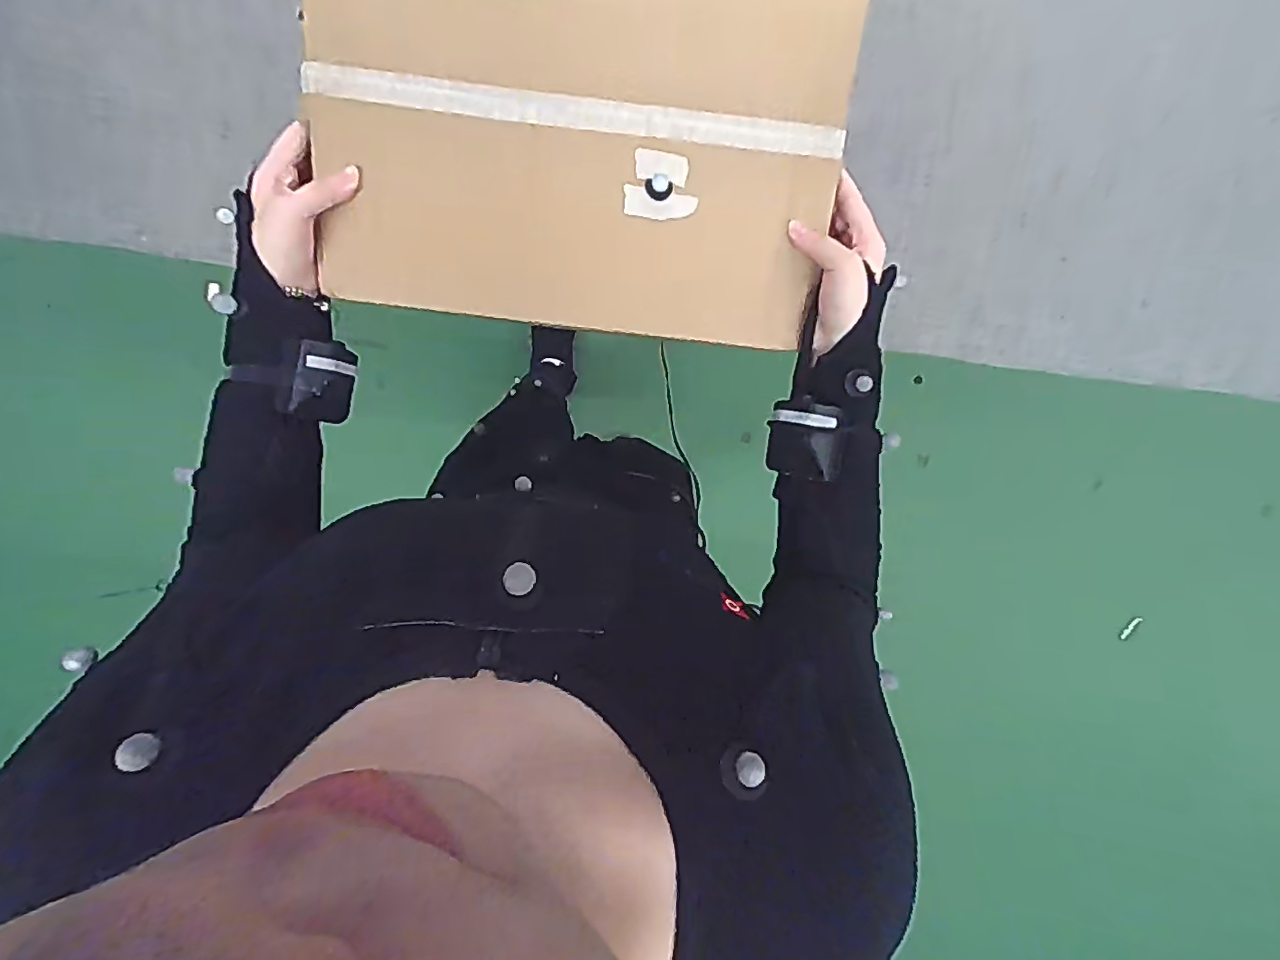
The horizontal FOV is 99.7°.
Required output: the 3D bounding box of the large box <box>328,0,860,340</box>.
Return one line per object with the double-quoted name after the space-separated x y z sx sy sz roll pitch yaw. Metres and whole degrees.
-0.046 -0.323 0.566 0.408 0.320 0.320 6 105 -3 "large box"
